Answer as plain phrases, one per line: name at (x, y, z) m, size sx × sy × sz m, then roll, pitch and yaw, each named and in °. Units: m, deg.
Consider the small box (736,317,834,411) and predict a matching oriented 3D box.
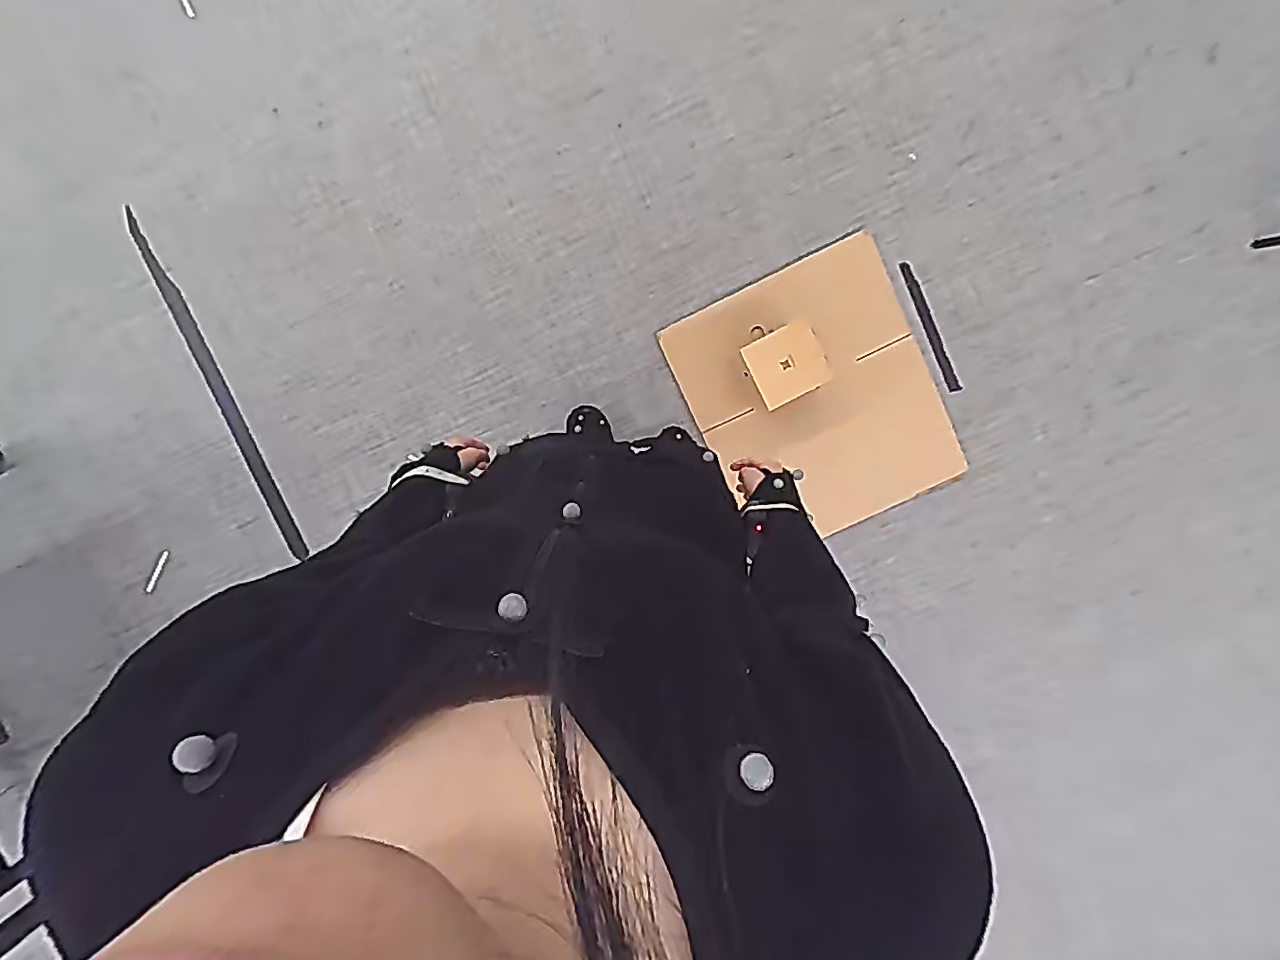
small box at (0.352, -0.281, 1.353) m, size 0.179 × 0.176 × 0.168 m, roll -27°, pitch 95°, yaw 5°
